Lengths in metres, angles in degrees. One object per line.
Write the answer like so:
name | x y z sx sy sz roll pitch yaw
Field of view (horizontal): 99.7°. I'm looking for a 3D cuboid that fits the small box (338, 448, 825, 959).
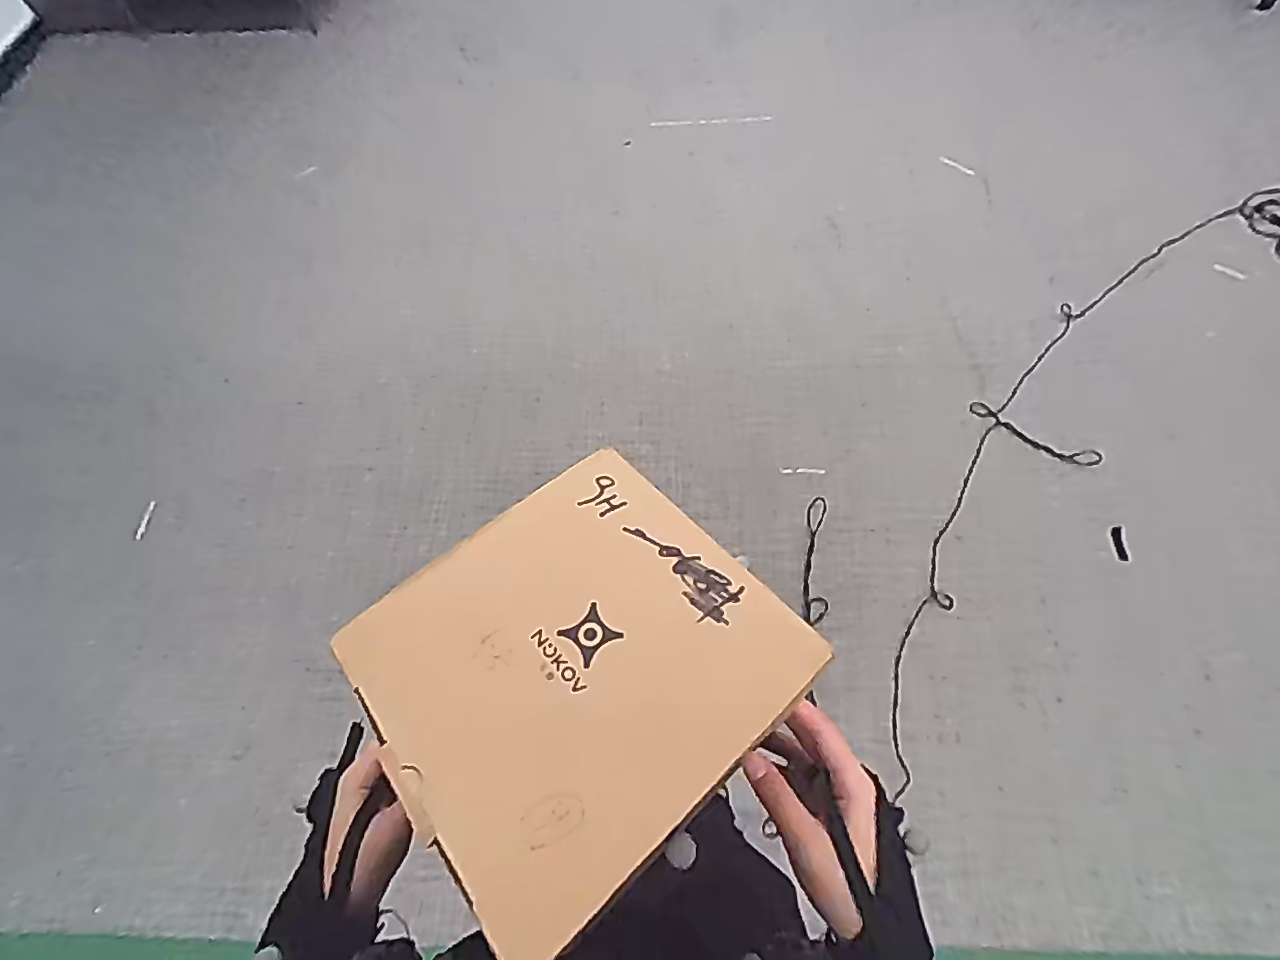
small box | -0.025 0.122 0.317 0.179 0.176 0.168 -37 61 -20
